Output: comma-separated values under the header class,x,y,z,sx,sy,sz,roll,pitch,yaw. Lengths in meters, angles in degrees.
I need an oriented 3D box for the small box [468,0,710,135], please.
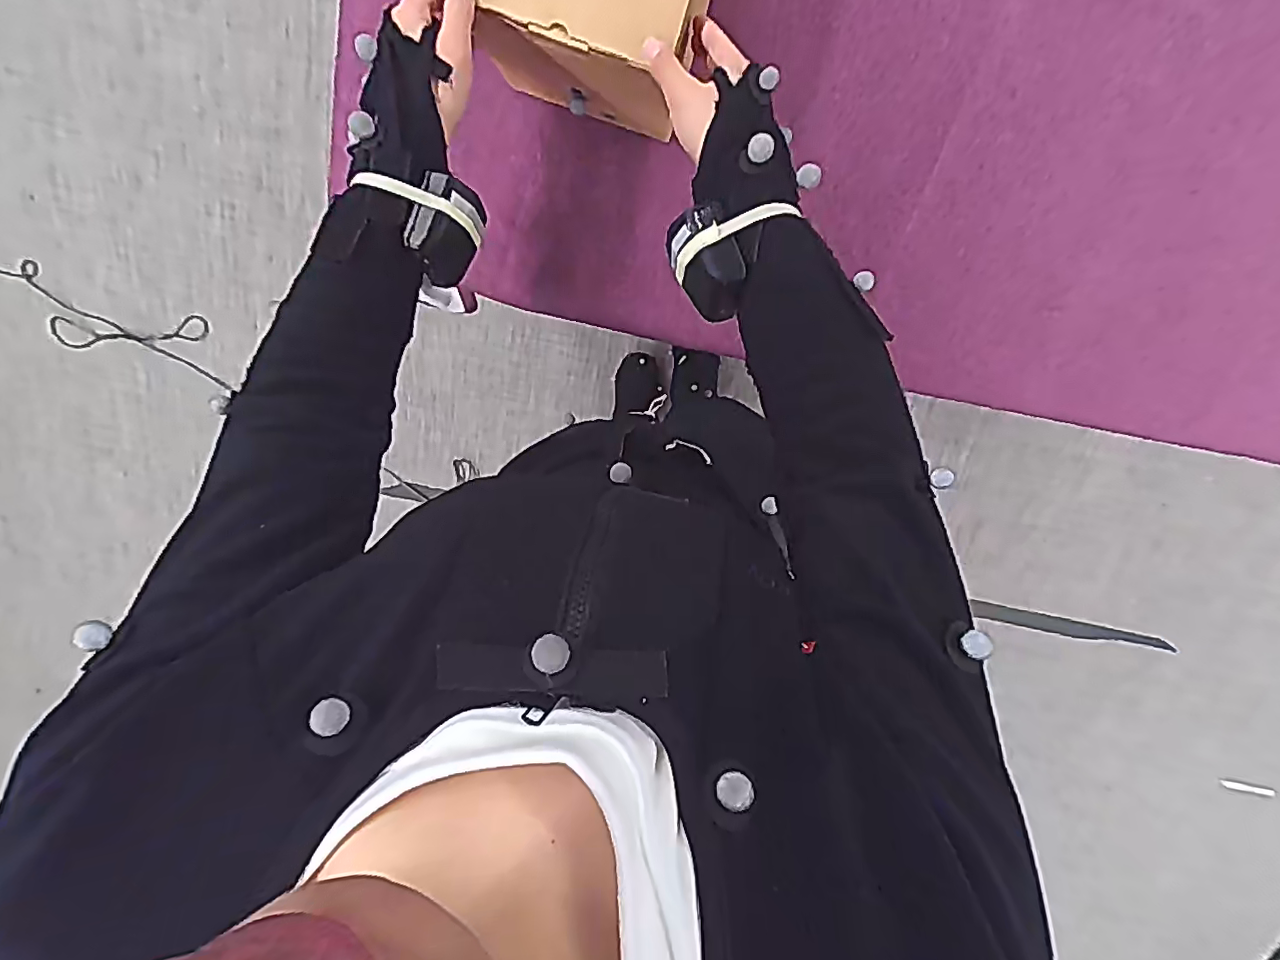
class,x,y,z,sx,sy,sz,roll,pitch,yaw
small box,-0.027,-0.418,0.433,0.168,0.176,0.179,18,107,-3
